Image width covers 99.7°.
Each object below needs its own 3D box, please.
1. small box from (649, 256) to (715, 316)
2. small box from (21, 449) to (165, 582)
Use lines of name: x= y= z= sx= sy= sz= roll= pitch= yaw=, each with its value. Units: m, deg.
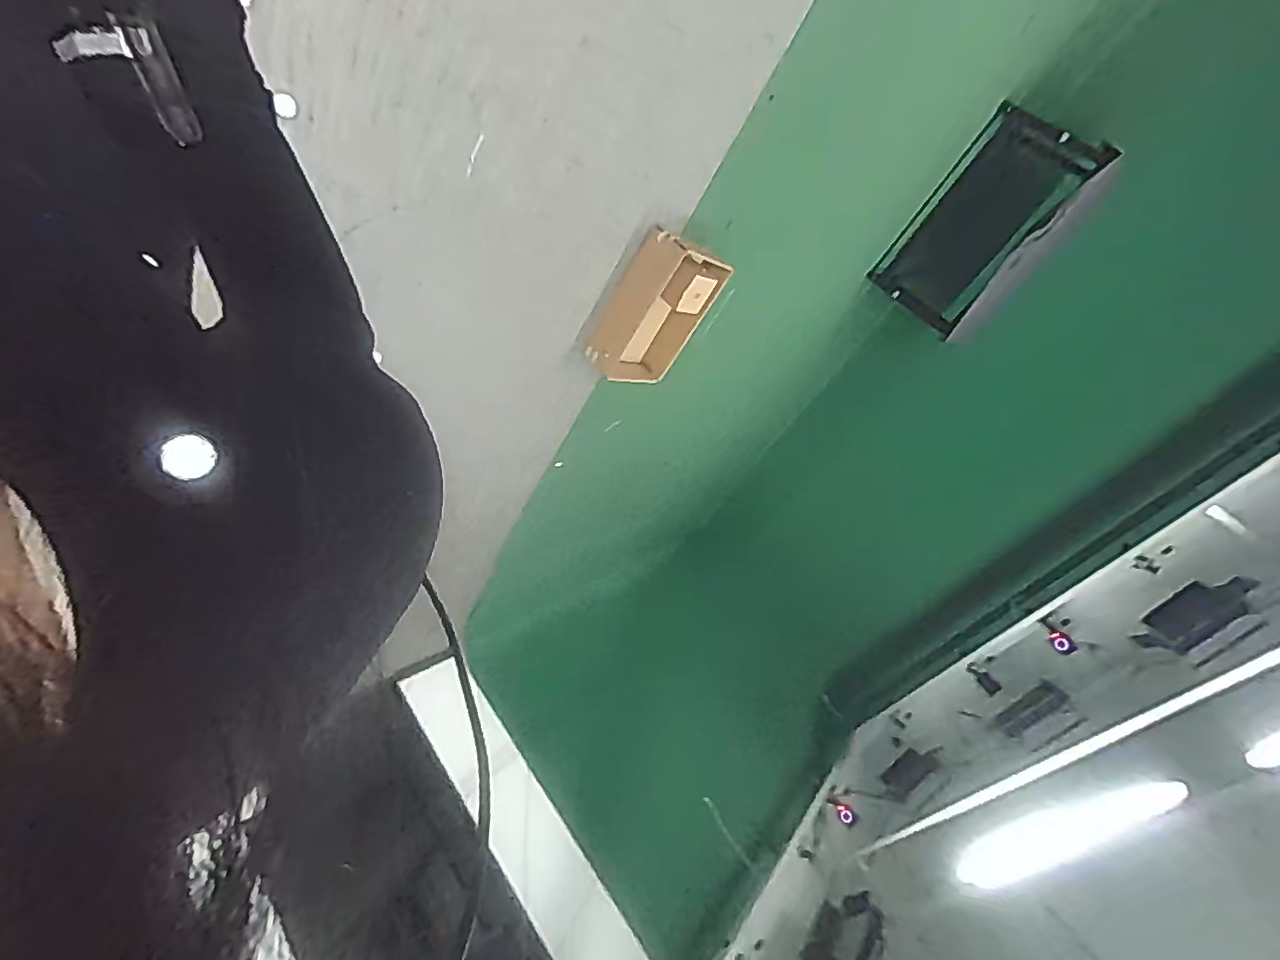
small box: x=0.171 y=-0.804 z=2.243 sx=0.179 sy=0.176 sz=0.168 roll=-13 pitch=145 yaw=-50
small box: x=-1.059 y=0.064 z=1.053 sx=0.168 sy=0.176 sz=0.179 roll=-16 pitch=148 yaw=-50
